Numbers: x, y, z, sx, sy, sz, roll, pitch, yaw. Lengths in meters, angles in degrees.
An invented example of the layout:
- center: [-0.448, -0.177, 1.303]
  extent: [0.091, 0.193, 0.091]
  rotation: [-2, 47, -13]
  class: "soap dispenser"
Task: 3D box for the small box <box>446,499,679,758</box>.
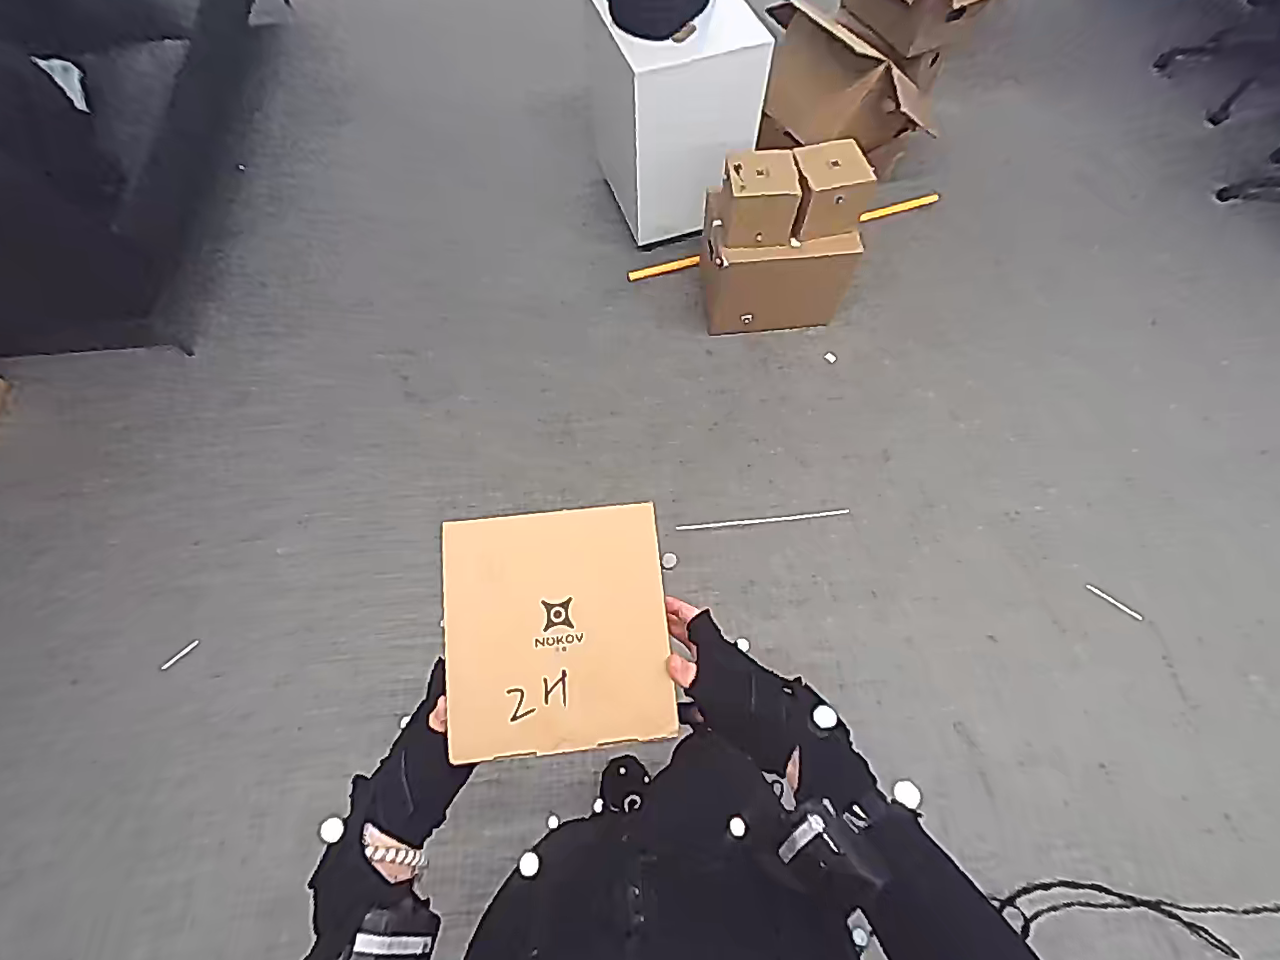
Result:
- center: [-0.063, 0.123, 0.475]
  extent: [0.168, 0.176, 0.179]
  rotation: [-5, 77, -3]
  class: "small box"
